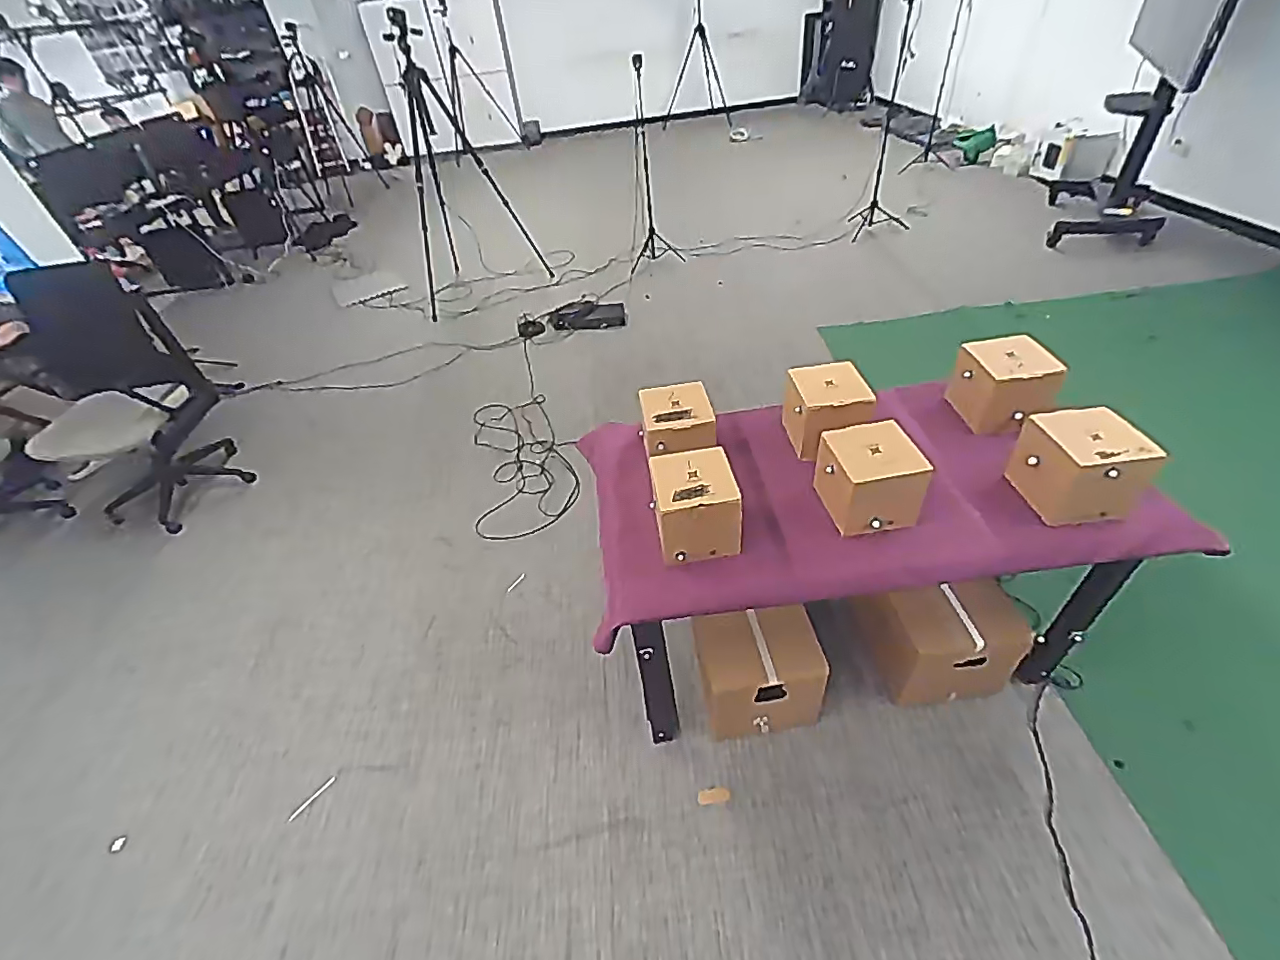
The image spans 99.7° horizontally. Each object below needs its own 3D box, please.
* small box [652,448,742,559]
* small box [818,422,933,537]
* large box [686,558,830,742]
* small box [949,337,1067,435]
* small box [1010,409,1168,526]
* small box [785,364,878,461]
[{"bbox_3d":[0.123,0.057,1.179,0.168,0.176,0.179,-9,40,-1],"label":"small box"},{"bbox_3d":[0.503,-0.001,1.185,0.168,0.176,0.179,-10,41,0],"label":"small box"},{"bbox_3d":[0.337,0.509,1.639,0.320,0.320,0.408,-9,41,-2],"label":"large box"},{"bbox_3d":[0.920,-0.238,1.375,0.168,0.176,0.179,-8,43,3],"label":"small box"},{"bbox_3d":[0.926,-0.027,1.141,0.168,0.176,0.179,-8,39,3],"label":"small box"},{"bbox_3d":[0.478,-0.172,1.381,0.168,0.176,0.179,-7,43,0],"label":"small box"}]
